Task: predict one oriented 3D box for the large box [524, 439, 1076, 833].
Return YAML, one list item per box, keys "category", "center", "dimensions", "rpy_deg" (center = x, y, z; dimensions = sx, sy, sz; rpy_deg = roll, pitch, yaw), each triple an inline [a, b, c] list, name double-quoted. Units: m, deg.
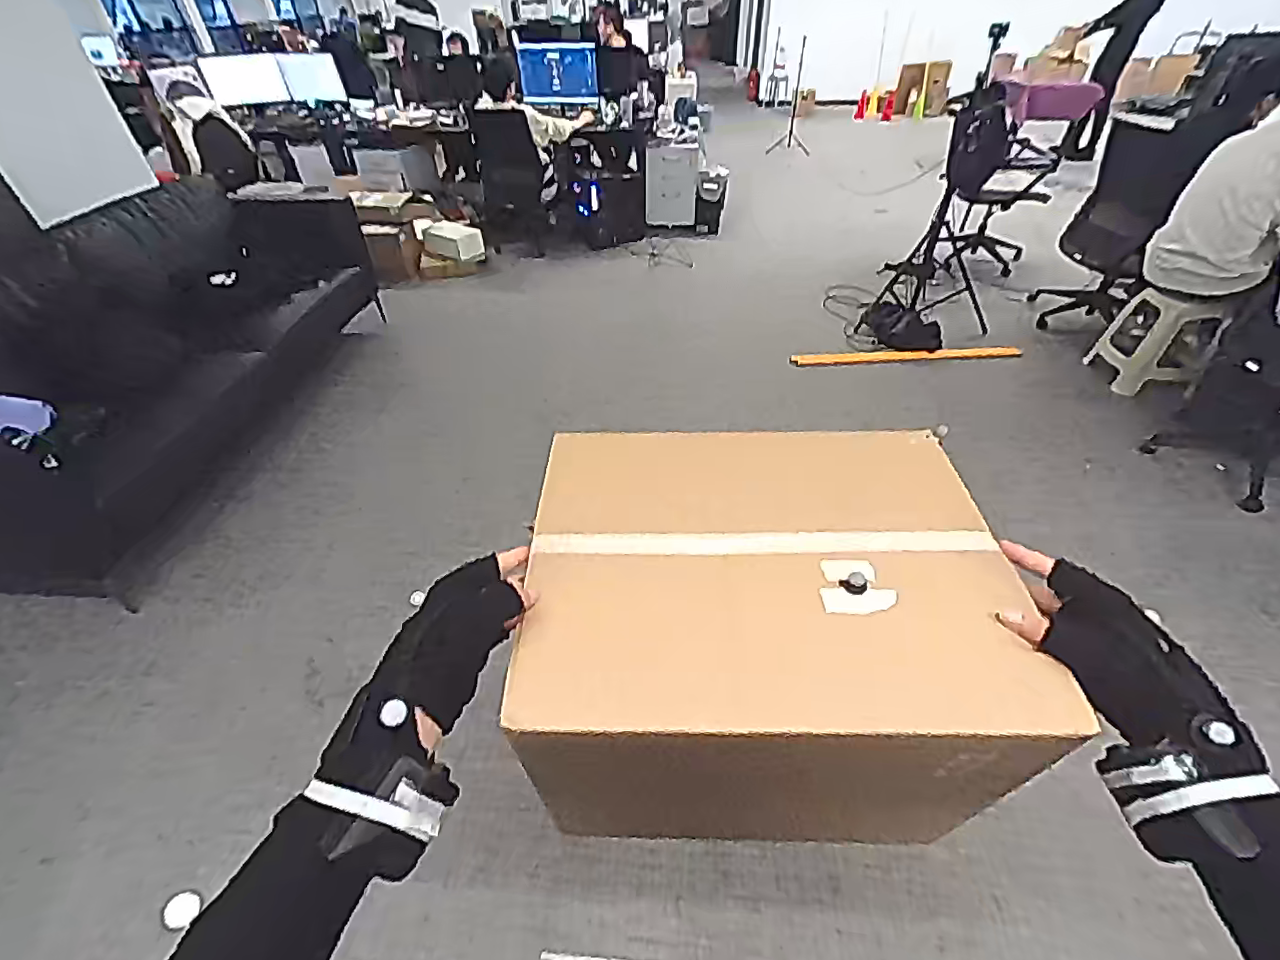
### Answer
- category: "large box"
  center: [0.113, 0.169, 0.591]
  dimensions: [0.408, 0.320, 0.320]
  rpy_deg: [0, 45, 1]
